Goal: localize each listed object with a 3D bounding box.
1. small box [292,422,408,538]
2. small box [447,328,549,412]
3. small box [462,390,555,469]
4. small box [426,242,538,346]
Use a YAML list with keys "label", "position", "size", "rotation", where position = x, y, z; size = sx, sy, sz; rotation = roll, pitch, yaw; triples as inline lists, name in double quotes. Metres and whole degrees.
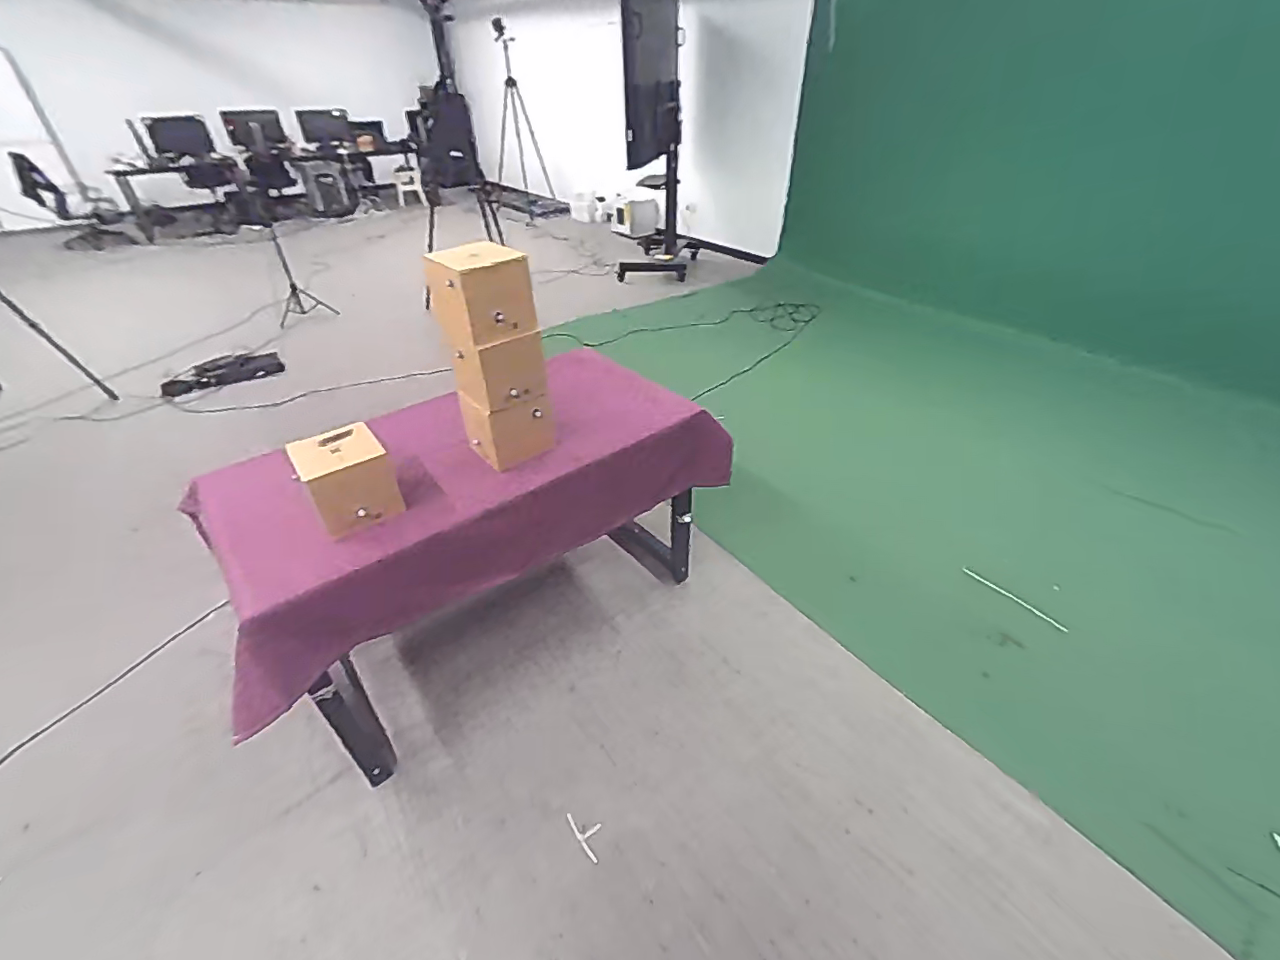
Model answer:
- label: "small box"
  position: [-0.646, -0.001, 1.213]
  size: [0.168, 0.176, 0.179]
  rotation: [-26, 44, -29]
- label: "small box"
  position: [-0.340, -0.288, 1.312]
  size: [0.168, 0.176, 0.179]
  rotation: [-29, 45, -30]
- label: "small box"
  position: [-0.335, -0.157, 1.409]
  size: [0.179, 0.176, 0.168]
  rotation: [-27, 44, -30]
- label: "small box"
  position: [-0.350, -0.419, 1.217]
  size: [0.168, 0.176, 0.179]
  rotation: [-30, 47, -32]
